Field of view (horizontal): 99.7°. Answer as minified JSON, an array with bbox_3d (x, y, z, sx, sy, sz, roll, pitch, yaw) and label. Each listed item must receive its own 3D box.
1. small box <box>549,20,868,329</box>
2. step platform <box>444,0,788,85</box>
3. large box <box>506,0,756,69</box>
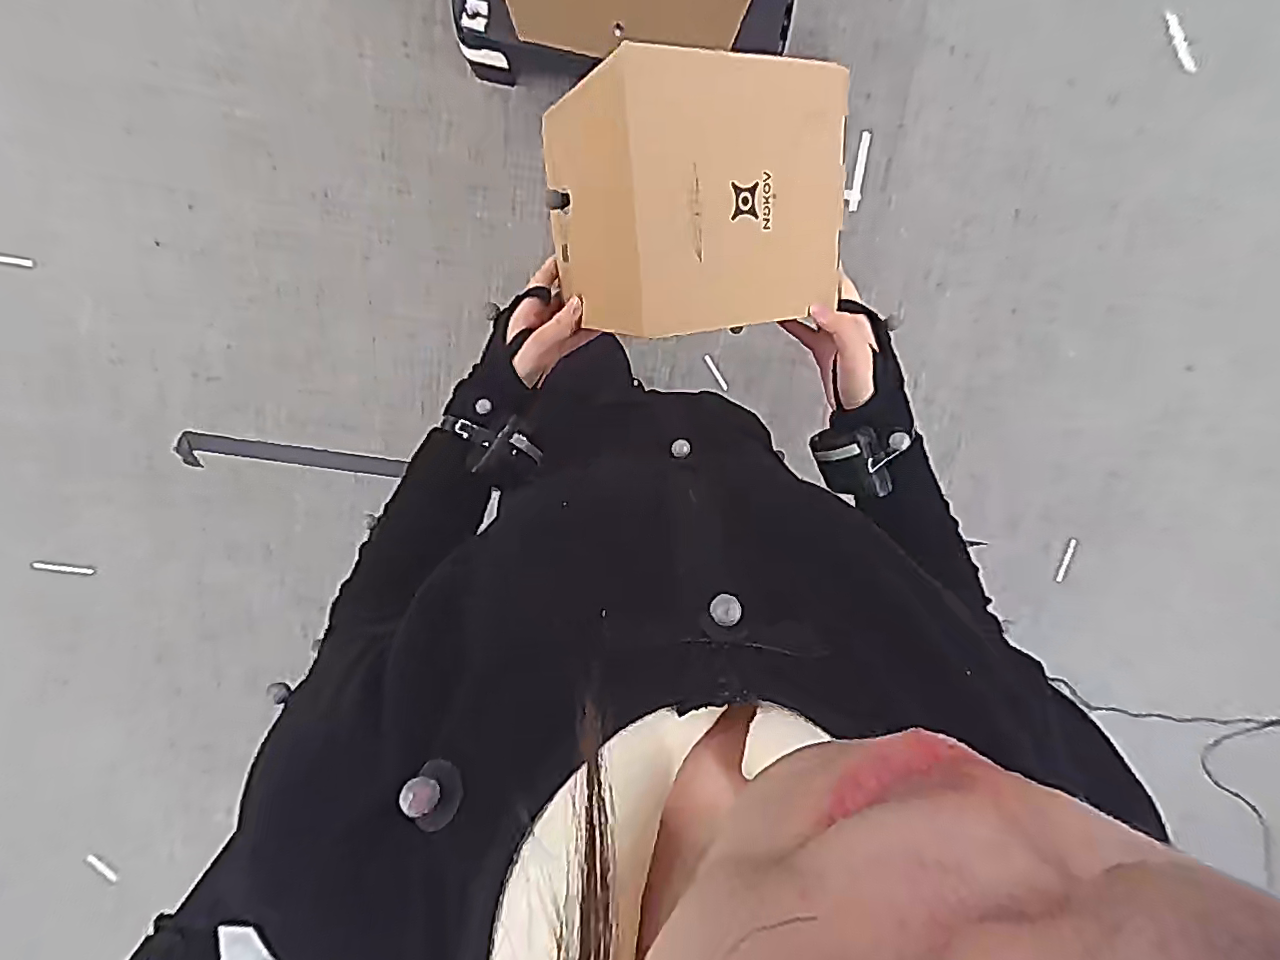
[{"bbox_3d":[0.044,-0.214,0.423,0.179,0.176,0.168,-13,112,-24],"label":"small box"},{"bbox_3d":[-0.046,-0.958,1.130,0.684,0.204,0.286,14,104,-5],"label":"step platform"},{"bbox_3d":[-0.004,-0.918,0.895,0.408,0.320,0.320,9,104,-4],"label":"large box"}]
